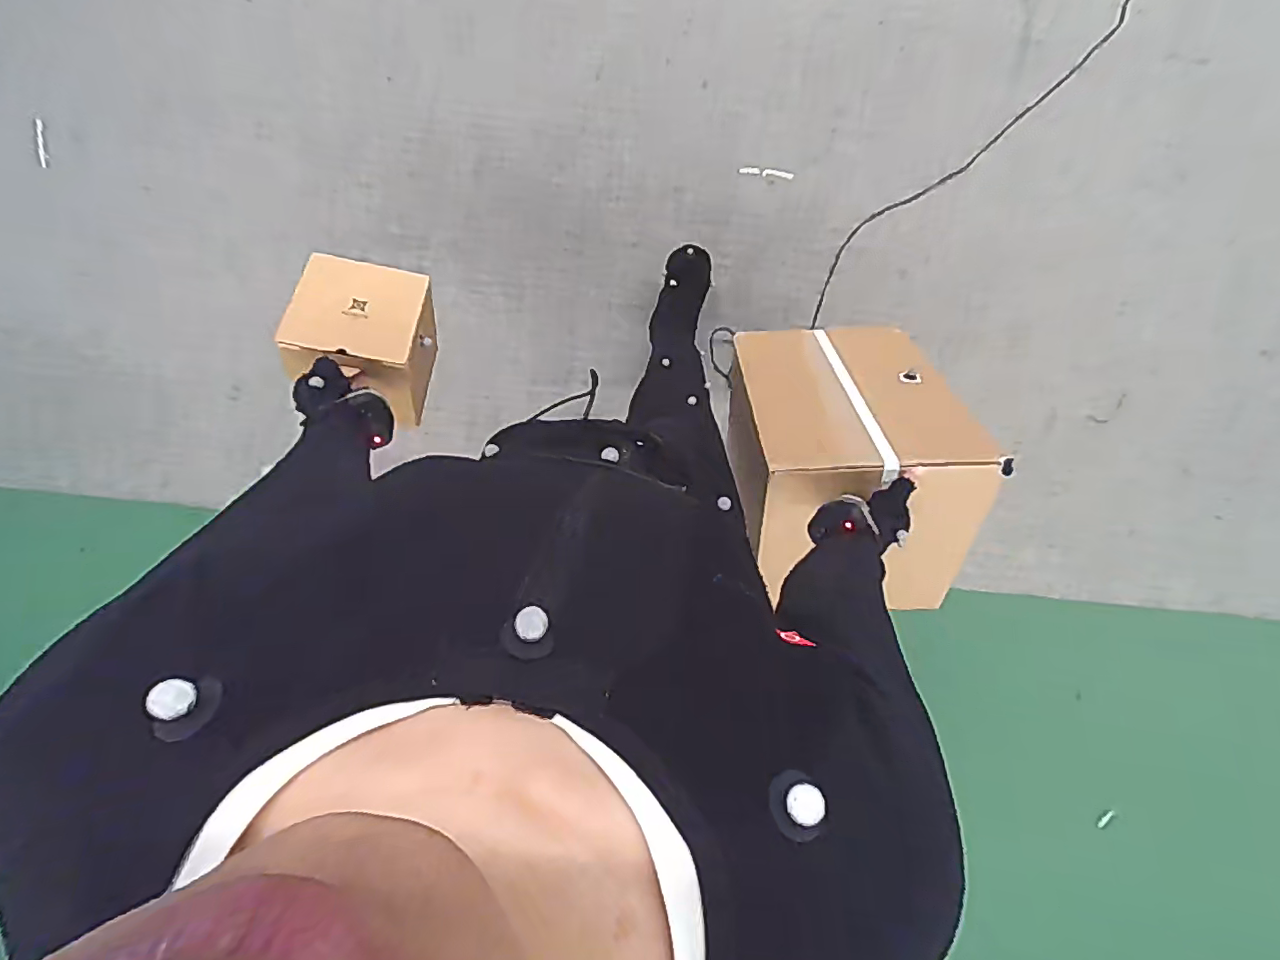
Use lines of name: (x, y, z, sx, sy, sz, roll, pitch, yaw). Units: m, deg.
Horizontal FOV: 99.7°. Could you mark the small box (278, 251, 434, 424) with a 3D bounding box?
small box: (-0.422, -0.213, 0.840, 0.168, 0.176, 0.179, 8, 62, -13)
